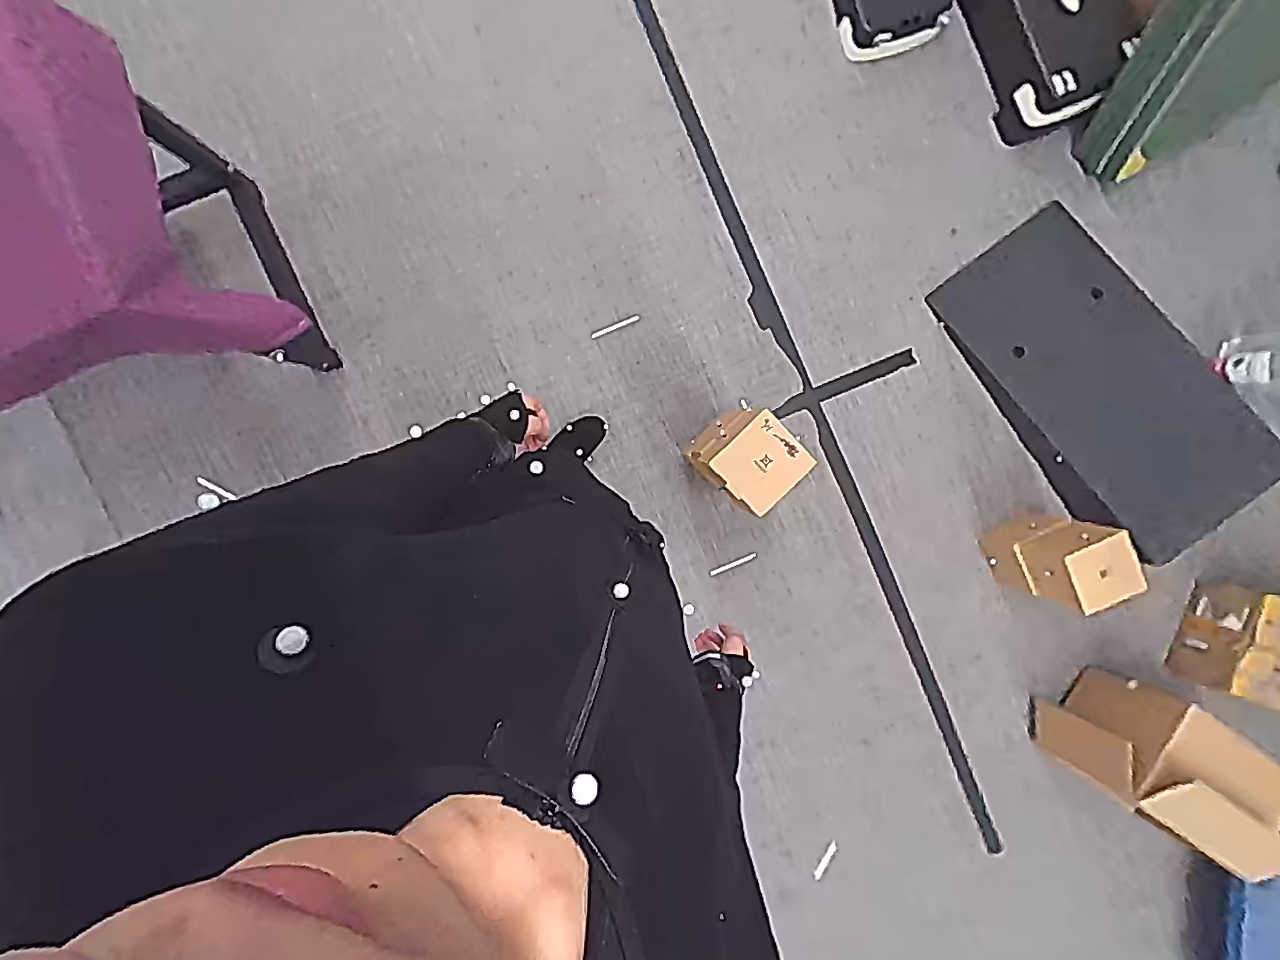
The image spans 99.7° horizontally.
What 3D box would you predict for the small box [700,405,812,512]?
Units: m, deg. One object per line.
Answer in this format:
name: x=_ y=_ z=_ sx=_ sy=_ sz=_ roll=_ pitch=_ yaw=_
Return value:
small box: x=0.253 y=-0.051 z=1.234 sx=0.179 sy=0.176 sz=0.168 roll=-44 pitch=95 yaw=2
